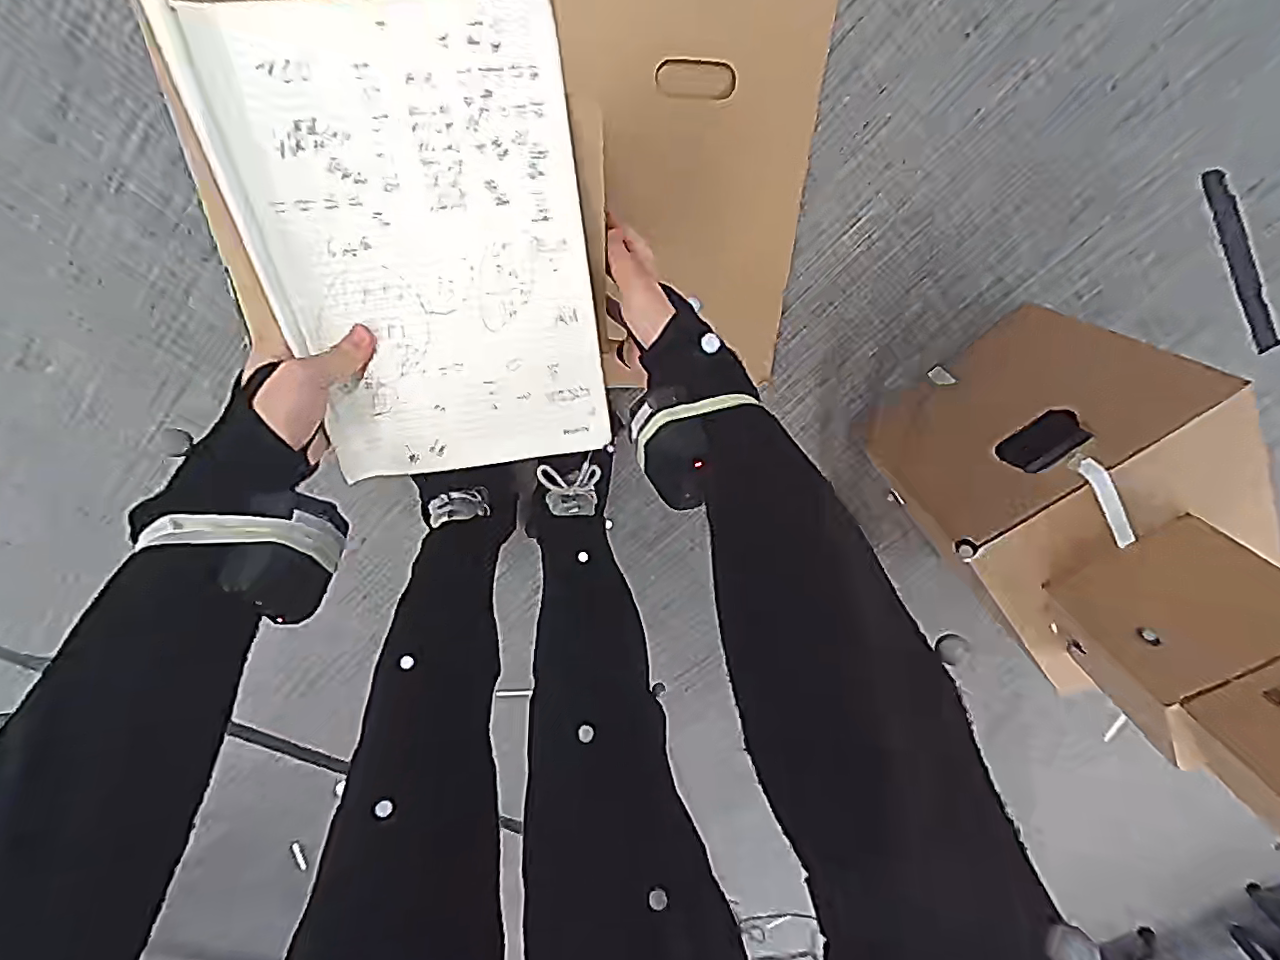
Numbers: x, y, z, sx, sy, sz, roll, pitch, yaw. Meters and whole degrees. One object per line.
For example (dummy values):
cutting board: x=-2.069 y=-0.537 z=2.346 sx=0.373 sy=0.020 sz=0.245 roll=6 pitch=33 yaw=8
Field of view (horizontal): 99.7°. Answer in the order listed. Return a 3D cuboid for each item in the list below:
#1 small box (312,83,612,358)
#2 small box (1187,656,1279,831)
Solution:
small box: x=-0.115 y=-0.204 z=0.428 sx=0.179 sy=0.176 sz=0.168 roll=-3 pitch=124 yaw=-7
small box: x=0.640 y=0.256 z=0.463 sx=0.168 sy=0.176 sz=0.179 roll=-40 pitch=117 yaw=16
